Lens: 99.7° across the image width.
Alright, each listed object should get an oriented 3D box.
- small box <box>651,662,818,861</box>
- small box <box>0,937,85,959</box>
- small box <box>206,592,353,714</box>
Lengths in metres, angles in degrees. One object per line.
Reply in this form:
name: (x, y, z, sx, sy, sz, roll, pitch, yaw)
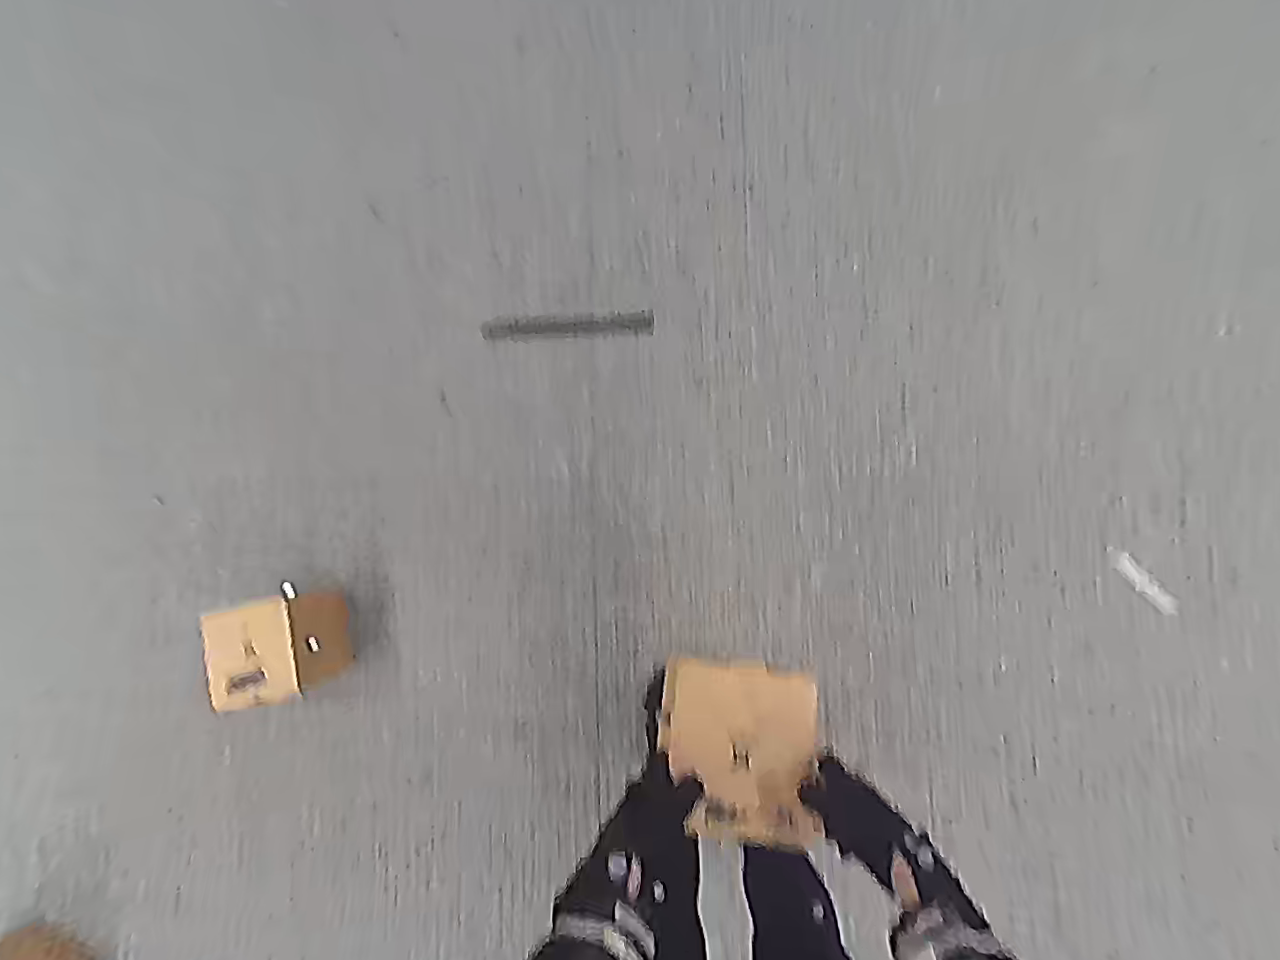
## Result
small box: (0.108, 0.331, 0.664, 0.168, 0.176, 0.179, 9, 68, 1)
small box: (-1.241, 1.031, 1.031, 0.179, 0.176, 0.168, 15, 88, 3)
small box: (-0.693, 0.329, 1.058, 0.168, 0.176, 0.179, -12, 84, 2)
